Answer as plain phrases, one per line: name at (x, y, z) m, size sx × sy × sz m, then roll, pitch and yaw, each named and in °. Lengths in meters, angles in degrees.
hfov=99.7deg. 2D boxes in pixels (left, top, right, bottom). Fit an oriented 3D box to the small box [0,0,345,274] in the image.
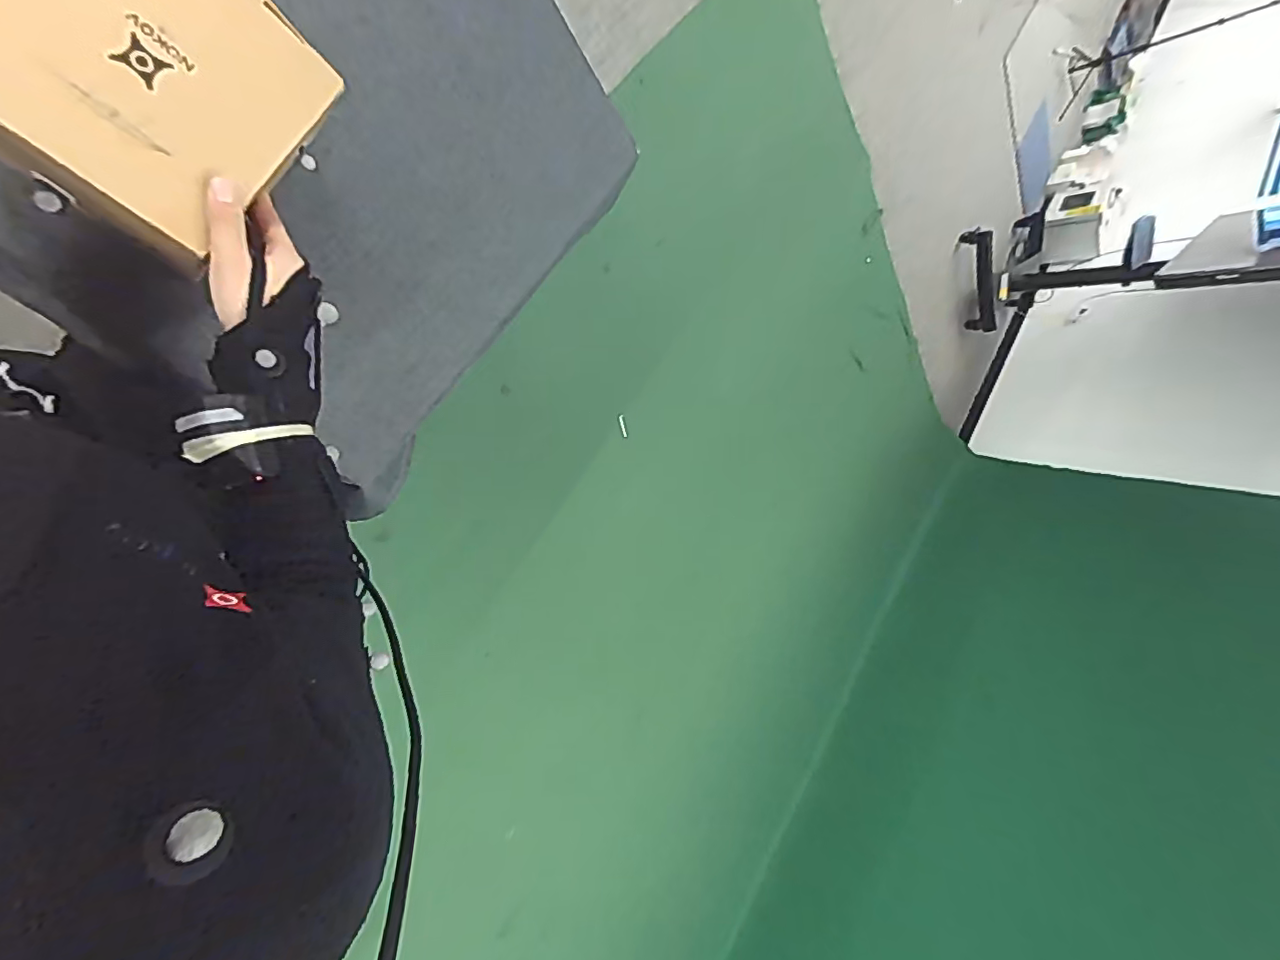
small box at (-0.362, -0.280, 0.400) m, size 0.168 × 0.176 × 0.179 m, roll 38°, pitch 76°, yaw -40°
